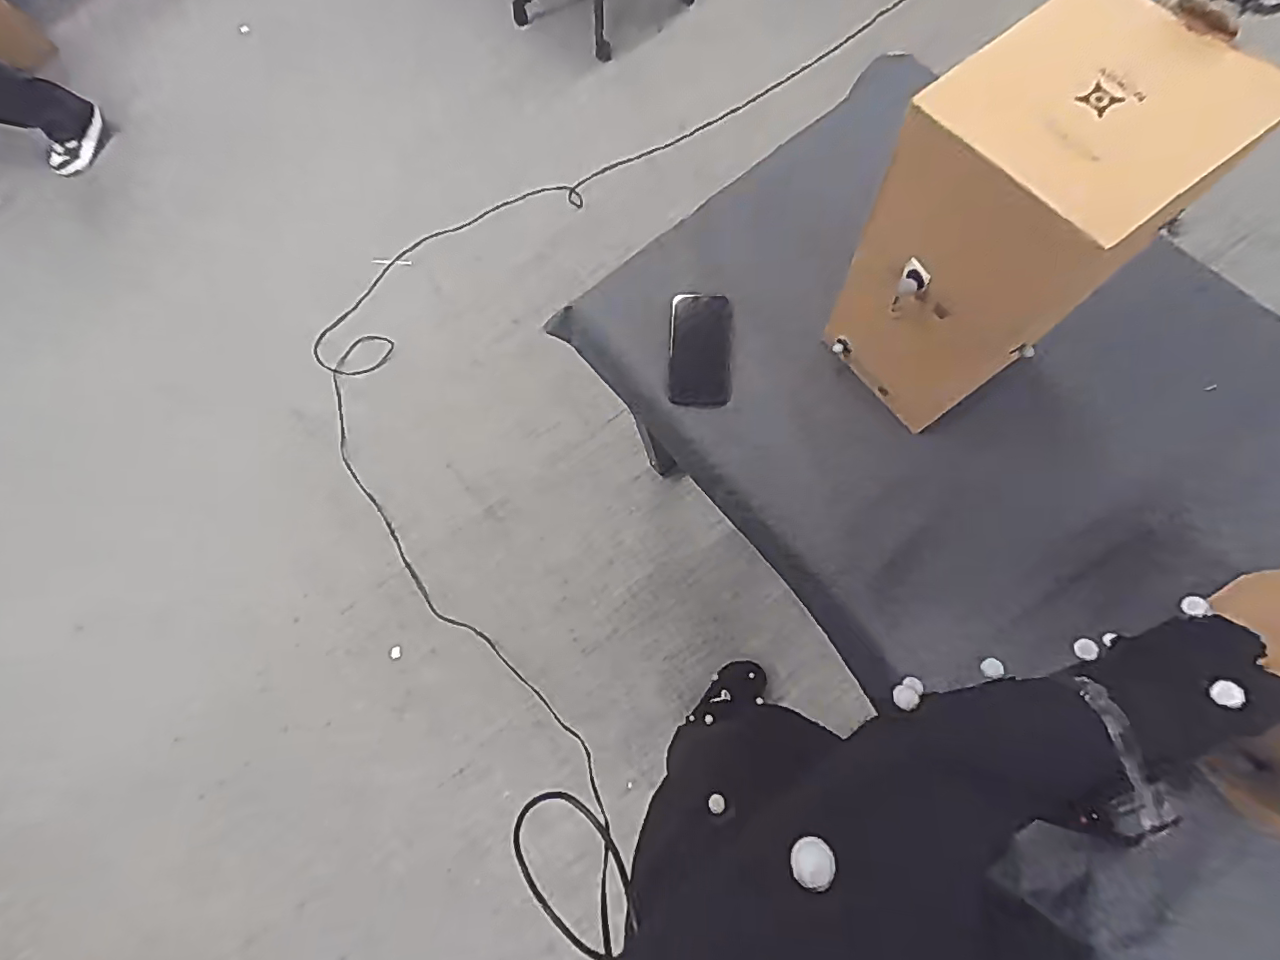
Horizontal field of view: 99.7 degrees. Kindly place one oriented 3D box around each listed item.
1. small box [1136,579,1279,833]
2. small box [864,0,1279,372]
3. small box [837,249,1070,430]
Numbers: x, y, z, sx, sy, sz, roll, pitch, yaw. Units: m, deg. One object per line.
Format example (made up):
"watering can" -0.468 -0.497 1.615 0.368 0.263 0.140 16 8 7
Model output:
"small box" 0.580 0.191 0.448 0.179 0.176 0.168 -33 72 -2
"small box" 0.314 -0.223 0.433 0.179 0.176 0.168 -37 72 -3
"small box" 0.338 -0.183 0.588 0.179 0.176 0.168 -35 73 -4
